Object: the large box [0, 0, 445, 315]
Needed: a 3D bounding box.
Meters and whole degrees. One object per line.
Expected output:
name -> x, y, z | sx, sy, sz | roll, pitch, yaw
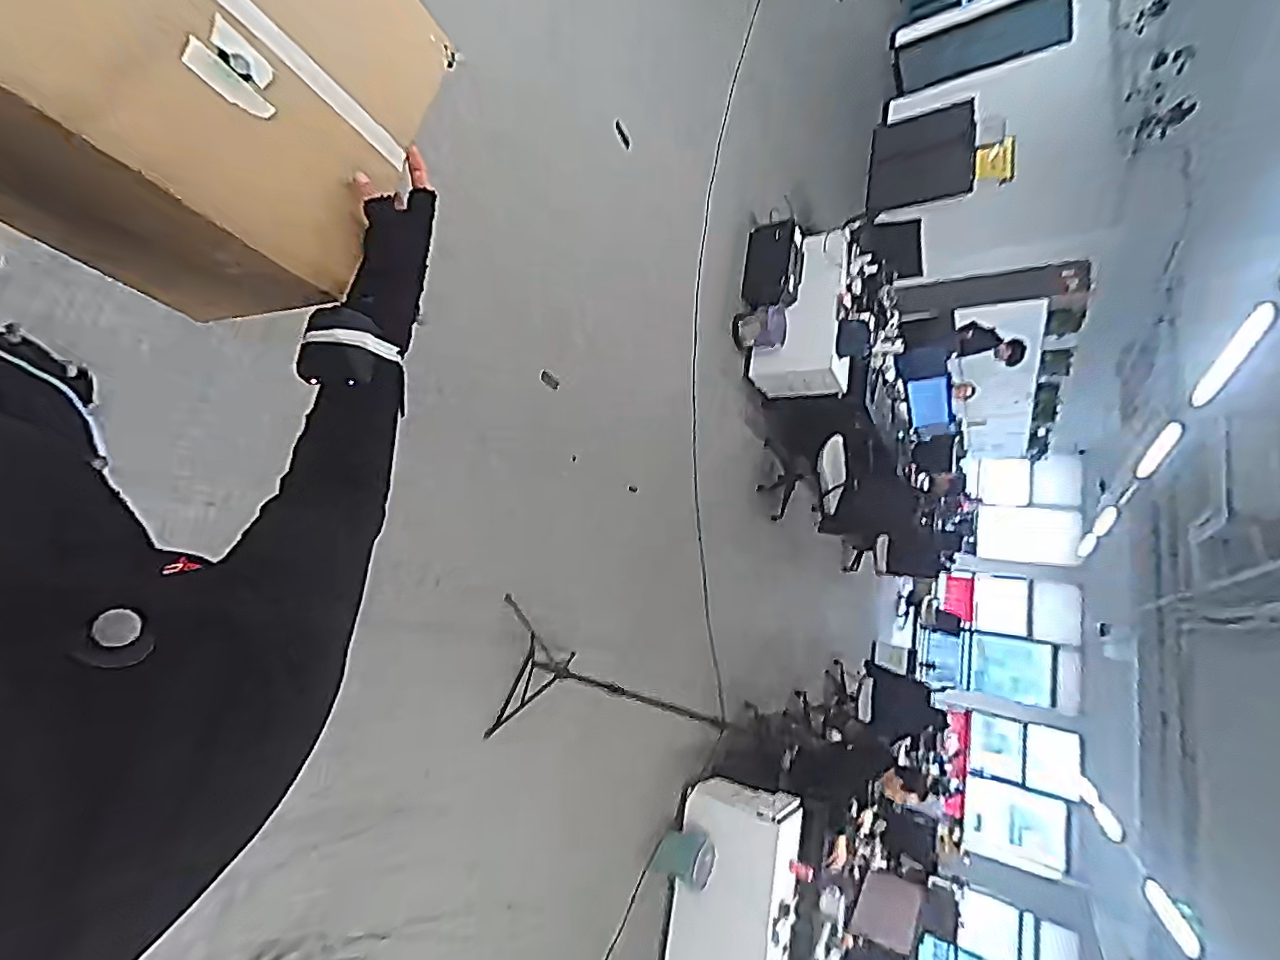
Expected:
large box -> -0.463, -0.390, 0.457 | 0.408, 0.320, 0.320 | 36, 66, -55
